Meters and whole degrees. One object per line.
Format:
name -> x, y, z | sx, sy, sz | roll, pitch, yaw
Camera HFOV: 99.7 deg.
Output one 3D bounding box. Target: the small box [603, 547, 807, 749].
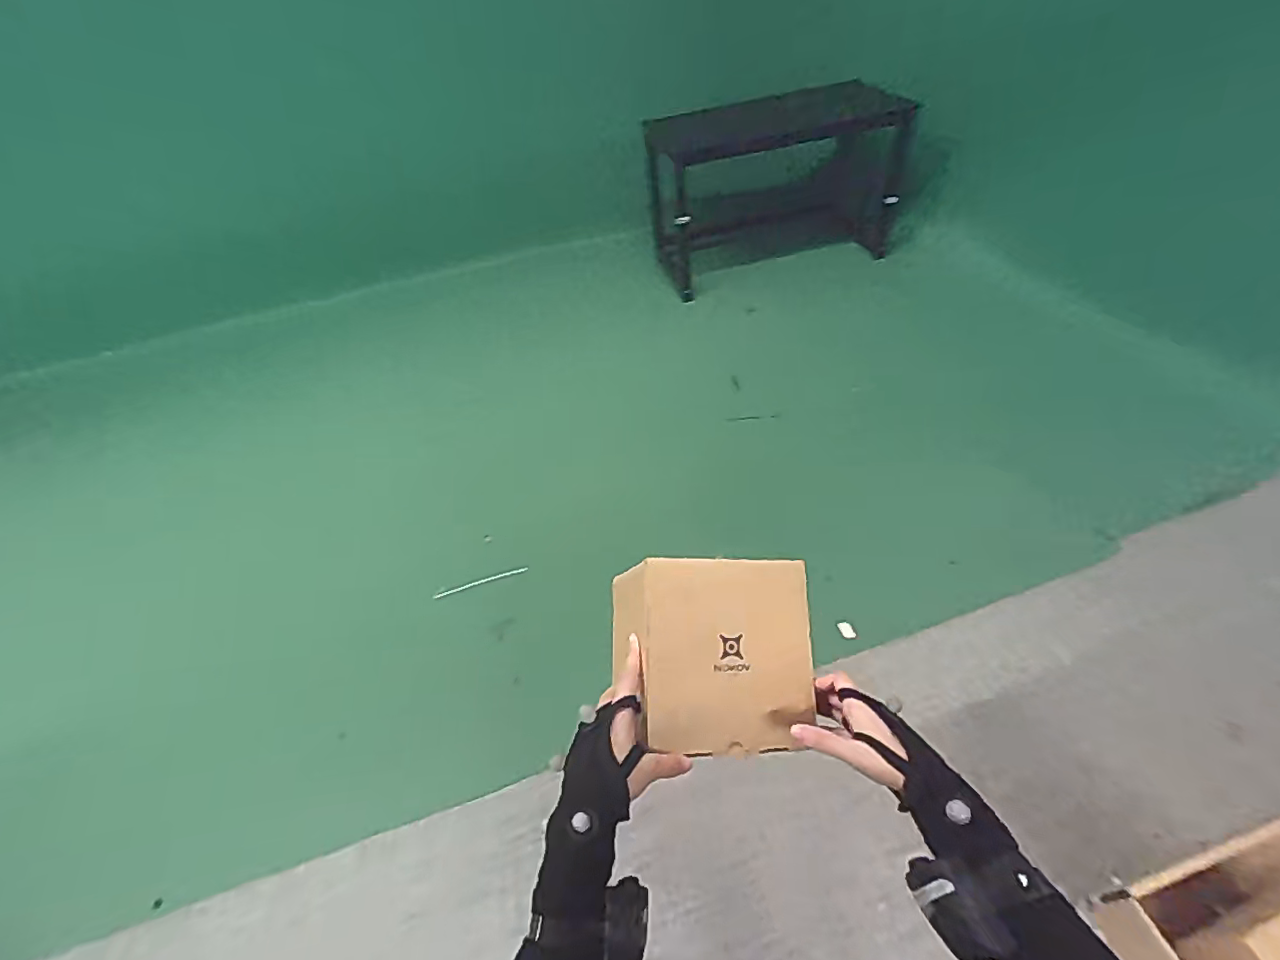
small box -> 0.055, 0.174, 0.575 | 0.168, 0.176, 0.179 | 3, 73, -13
